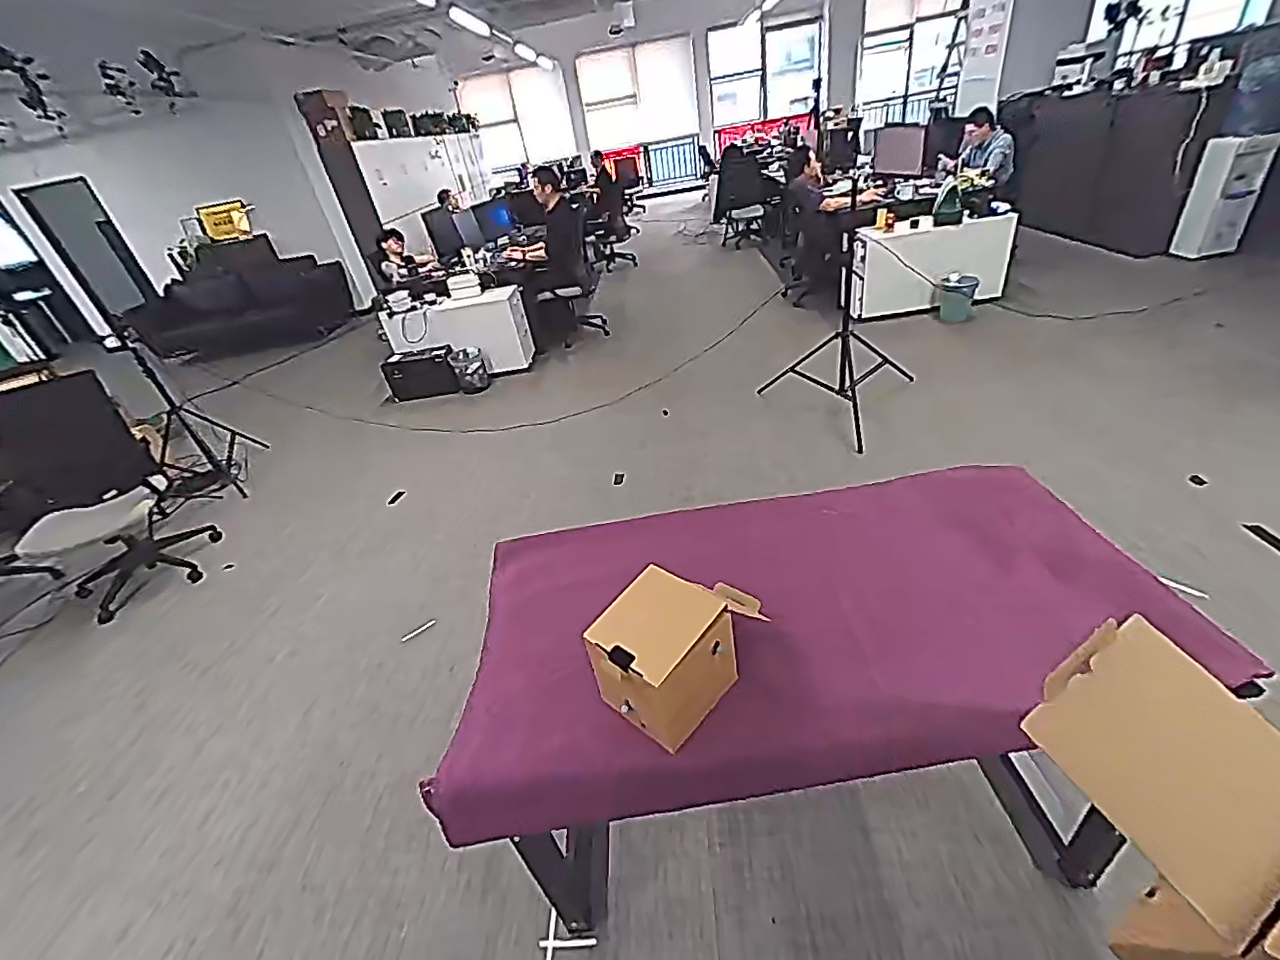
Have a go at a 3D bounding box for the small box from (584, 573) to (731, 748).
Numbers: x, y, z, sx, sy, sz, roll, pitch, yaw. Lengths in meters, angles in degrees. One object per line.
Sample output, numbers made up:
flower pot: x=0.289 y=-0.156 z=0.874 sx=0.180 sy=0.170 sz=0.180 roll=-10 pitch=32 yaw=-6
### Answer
small box: x=0.036 y=0.293 z=0.894 sx=0.168 sy=0.176 sz=0.179 roll=20 pitch=44 yaw=41
